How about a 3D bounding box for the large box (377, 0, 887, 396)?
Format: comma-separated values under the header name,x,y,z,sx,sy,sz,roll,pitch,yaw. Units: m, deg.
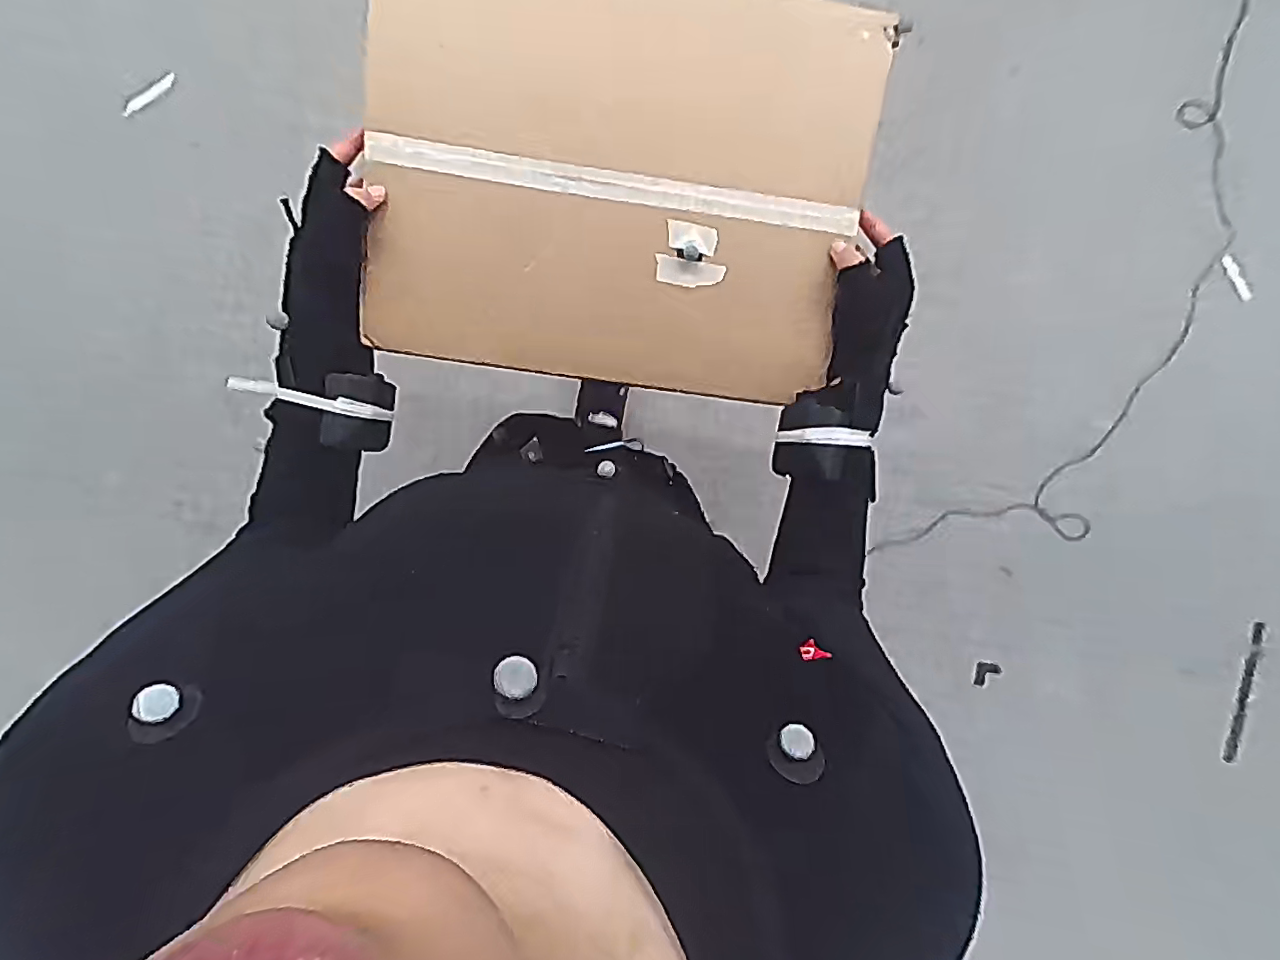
name,x,y,z,sx,sy,sz,roll,pitch,yaw
large box,-0.023,-0.278,0.598,0.408,0.320,0.320,8,102,-5
